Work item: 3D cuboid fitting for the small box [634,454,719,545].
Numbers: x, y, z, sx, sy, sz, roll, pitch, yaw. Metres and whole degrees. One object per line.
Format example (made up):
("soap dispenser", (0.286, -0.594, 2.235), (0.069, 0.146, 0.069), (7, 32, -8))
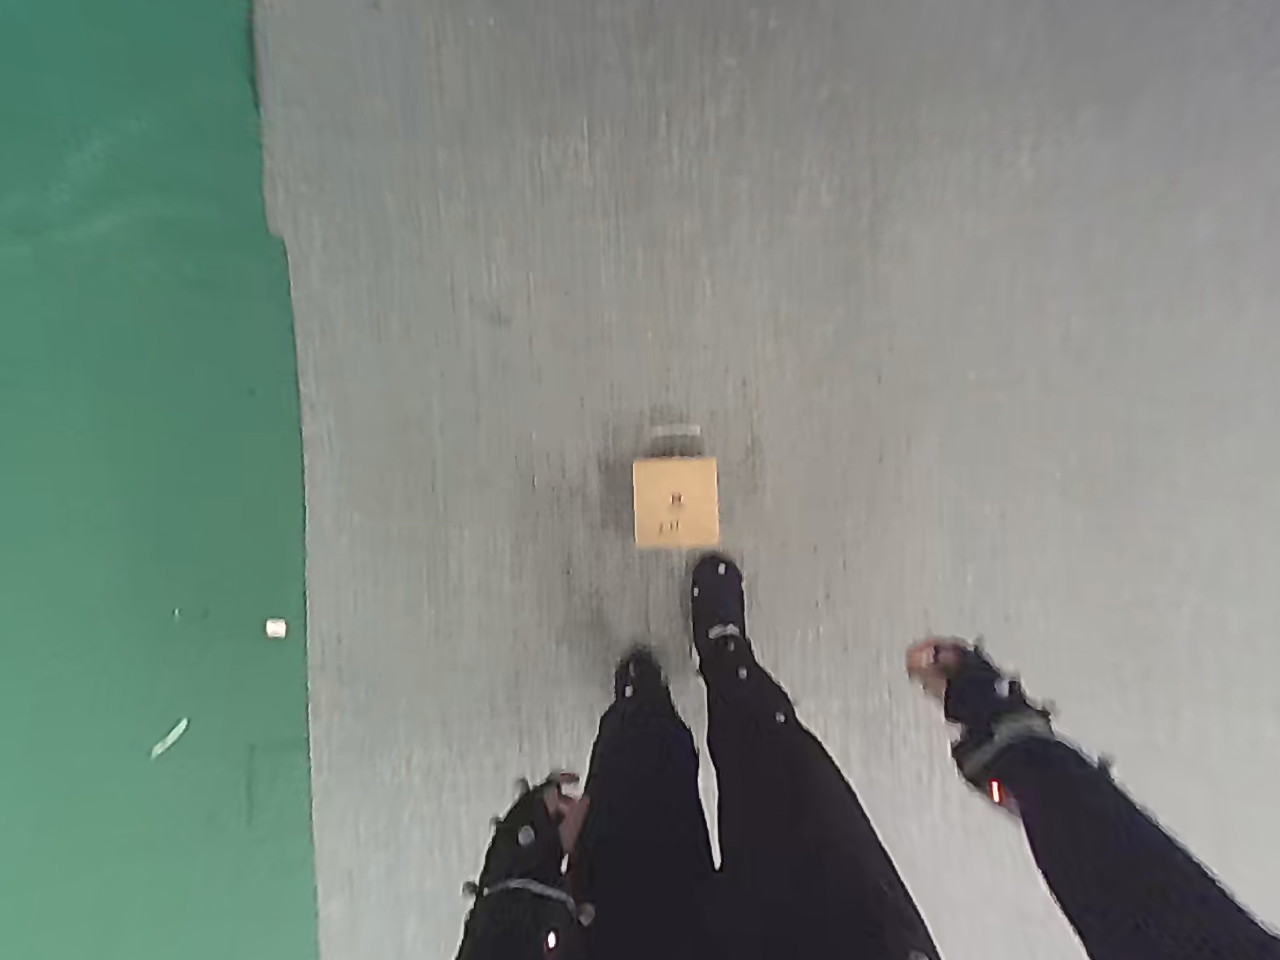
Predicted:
("small box", (0.073, 0.037, 1.125), (0.168, 0.176, 0.179), (-1, 93, 4))
